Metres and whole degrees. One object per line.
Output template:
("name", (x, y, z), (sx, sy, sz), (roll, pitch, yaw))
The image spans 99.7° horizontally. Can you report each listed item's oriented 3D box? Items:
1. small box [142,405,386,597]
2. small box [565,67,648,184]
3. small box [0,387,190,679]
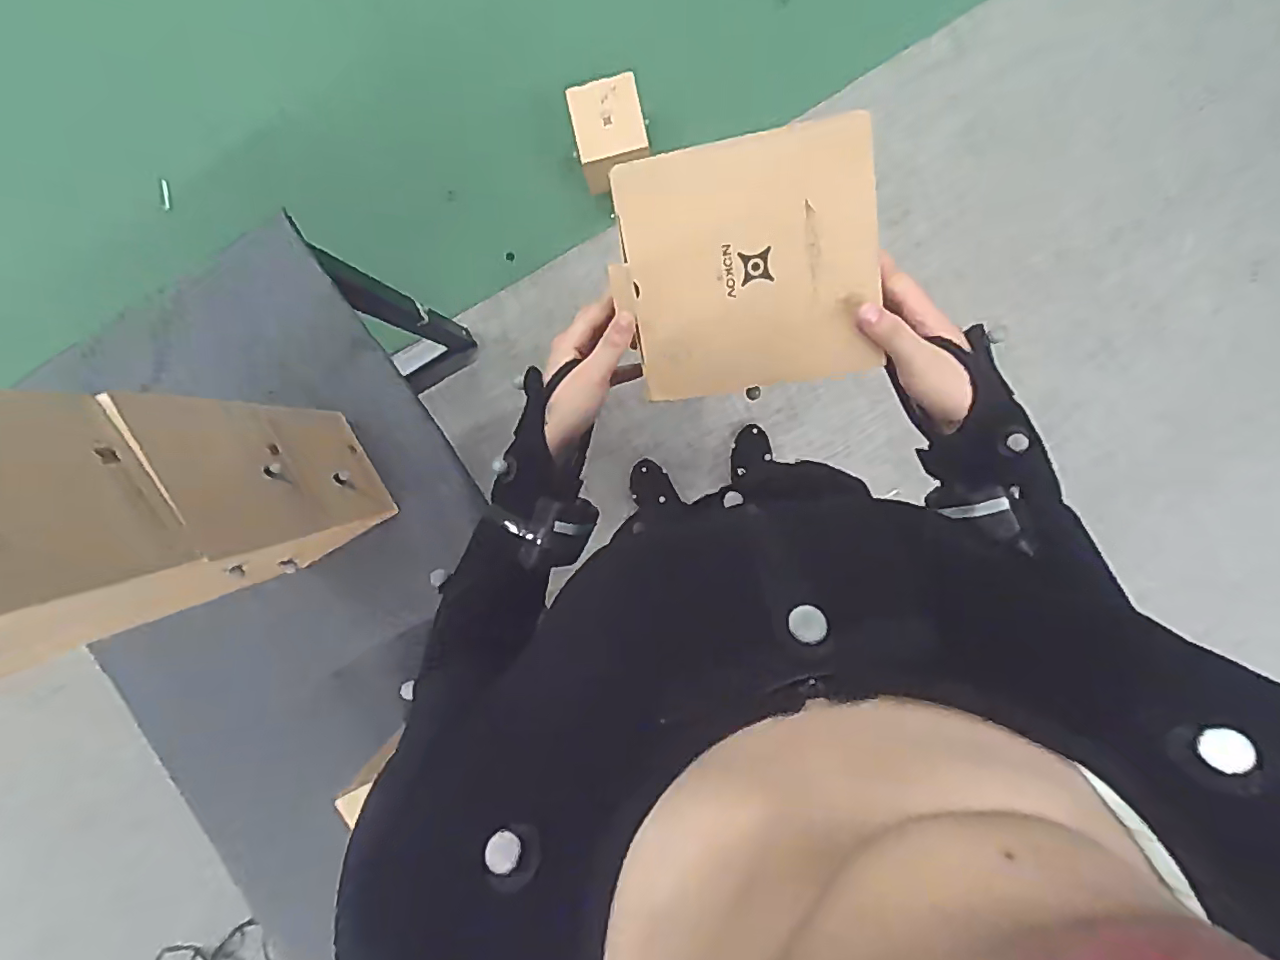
("small box", (-0.458, 0.016, 0.689), (0.179, 0.176, 0.168), (-29, 93, 6))
("small box", (-0.075, -0.858, 1.332), (0.168, 0.176, 0.179), (-12, 94, 2))
("small box", (-0.473, 0.049, 0.362), (0.179, 0.176, 0.168), (-32, 94, 6))
